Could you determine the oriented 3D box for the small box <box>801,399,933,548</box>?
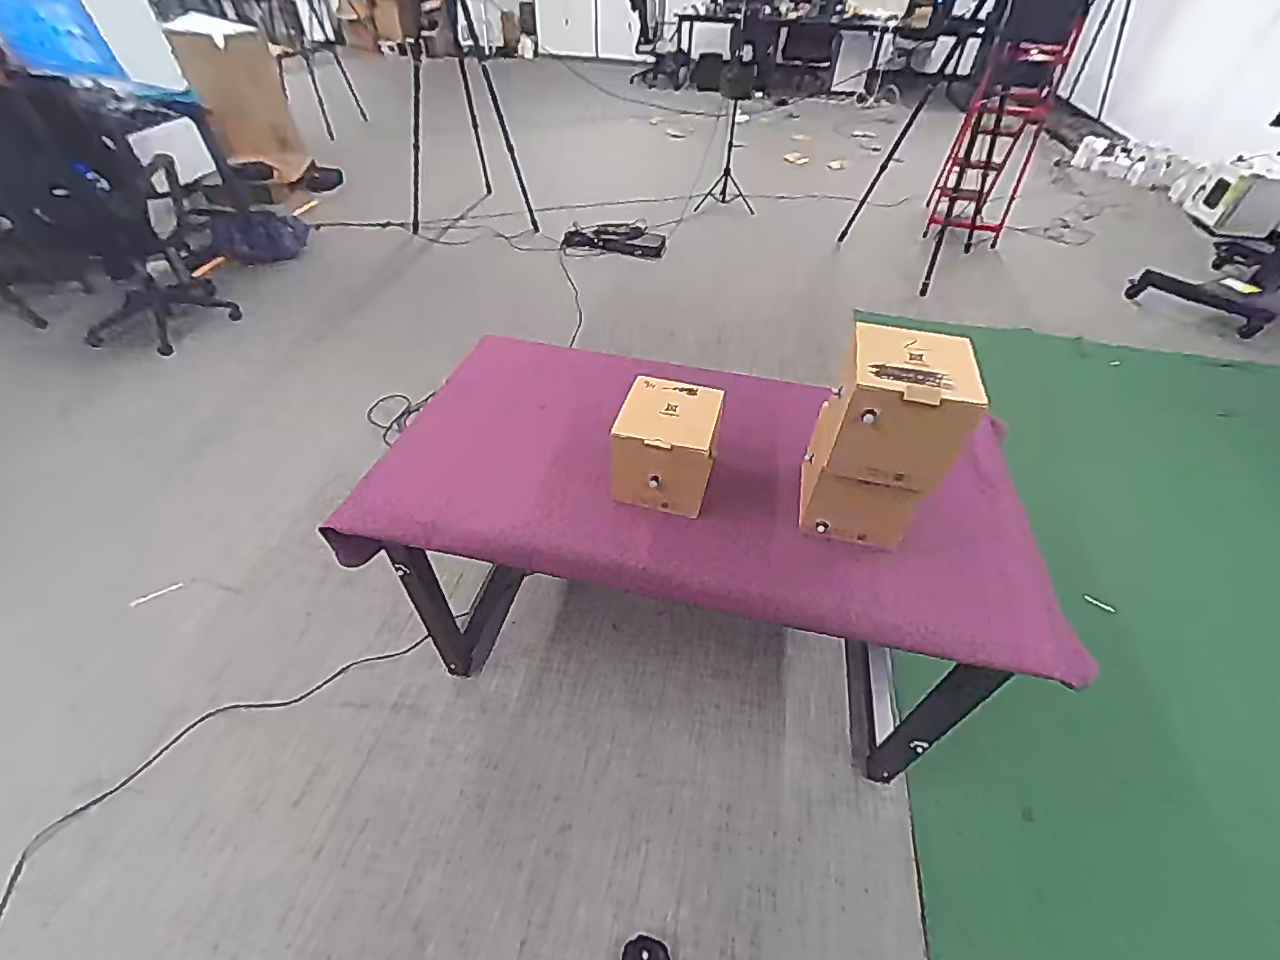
[{"bbox_3d":[0.387,-0.009,0.939,0.168,0.176,0.179,15,48,9],"label":"small box"}]

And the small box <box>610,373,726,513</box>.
[{"bbox_3d":[0.052,-0.065,0.982,0.168,0.176,0.179,13,48,10],"label":"small box"}]
